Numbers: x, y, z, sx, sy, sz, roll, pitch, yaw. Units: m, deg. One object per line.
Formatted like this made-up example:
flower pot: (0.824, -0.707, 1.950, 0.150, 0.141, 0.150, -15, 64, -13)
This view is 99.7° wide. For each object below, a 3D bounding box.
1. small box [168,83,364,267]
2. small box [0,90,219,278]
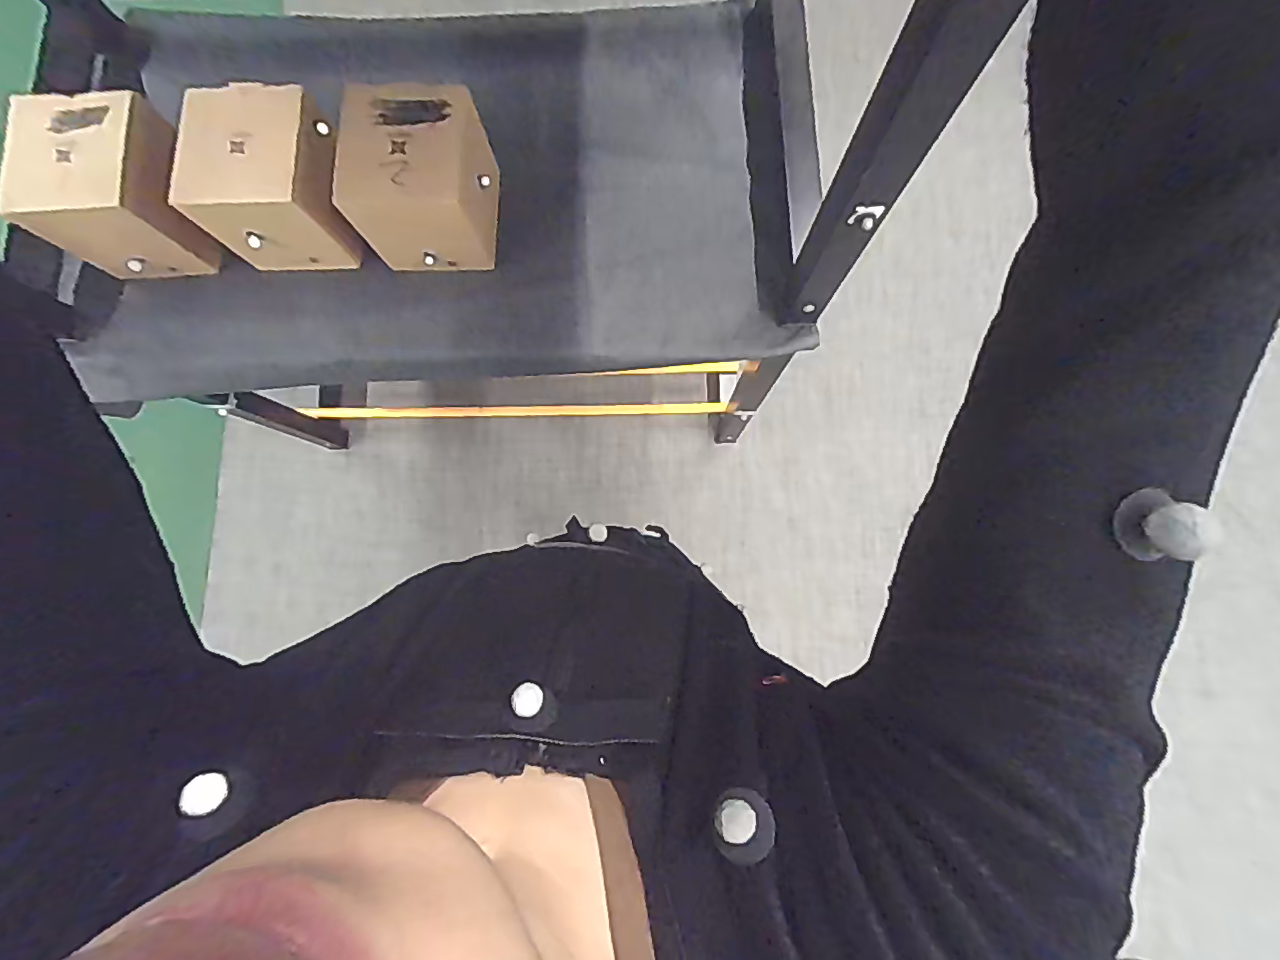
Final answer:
small box: (-0.526, -0.429, 0.786, 0.168, 0.176, 0.179, -1, 80, 1)
small box: (-0.753, -0.420, 0.787, 0.168, 0.176, 0.179, -3, 81, 1)
